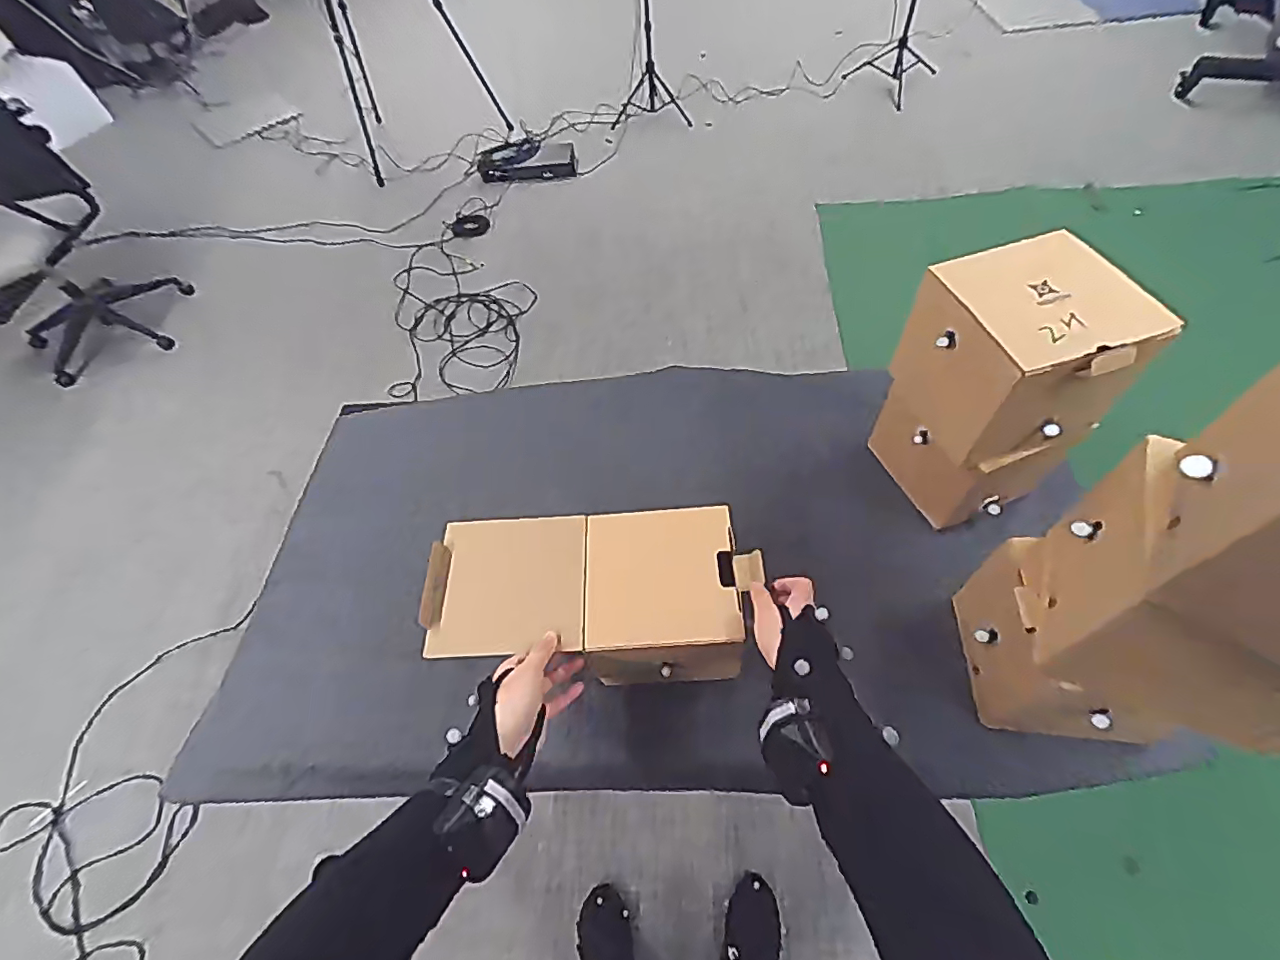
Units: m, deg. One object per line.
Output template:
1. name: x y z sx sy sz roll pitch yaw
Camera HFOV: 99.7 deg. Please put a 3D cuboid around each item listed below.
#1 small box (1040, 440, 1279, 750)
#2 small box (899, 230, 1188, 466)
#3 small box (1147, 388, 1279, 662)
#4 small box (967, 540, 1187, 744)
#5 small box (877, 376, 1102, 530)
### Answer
1. small box: 0.475 0.100 0.453 0.179 0.176 0.168 21 59 19
2. small box: 0.429 -0.145 0.620 0.168 0.176 0.179 -16 58 -1
3. small box: 0.458 0.024 0.306 0.179 0.176 0.168 30 62 25
4. small box: 0.488 0.181 0.595 0.179 0.176 0.168 2 55 9
5. small box: 0.465 -0.060 0.757 0.168 0.176 0.179 -22 59 -5
